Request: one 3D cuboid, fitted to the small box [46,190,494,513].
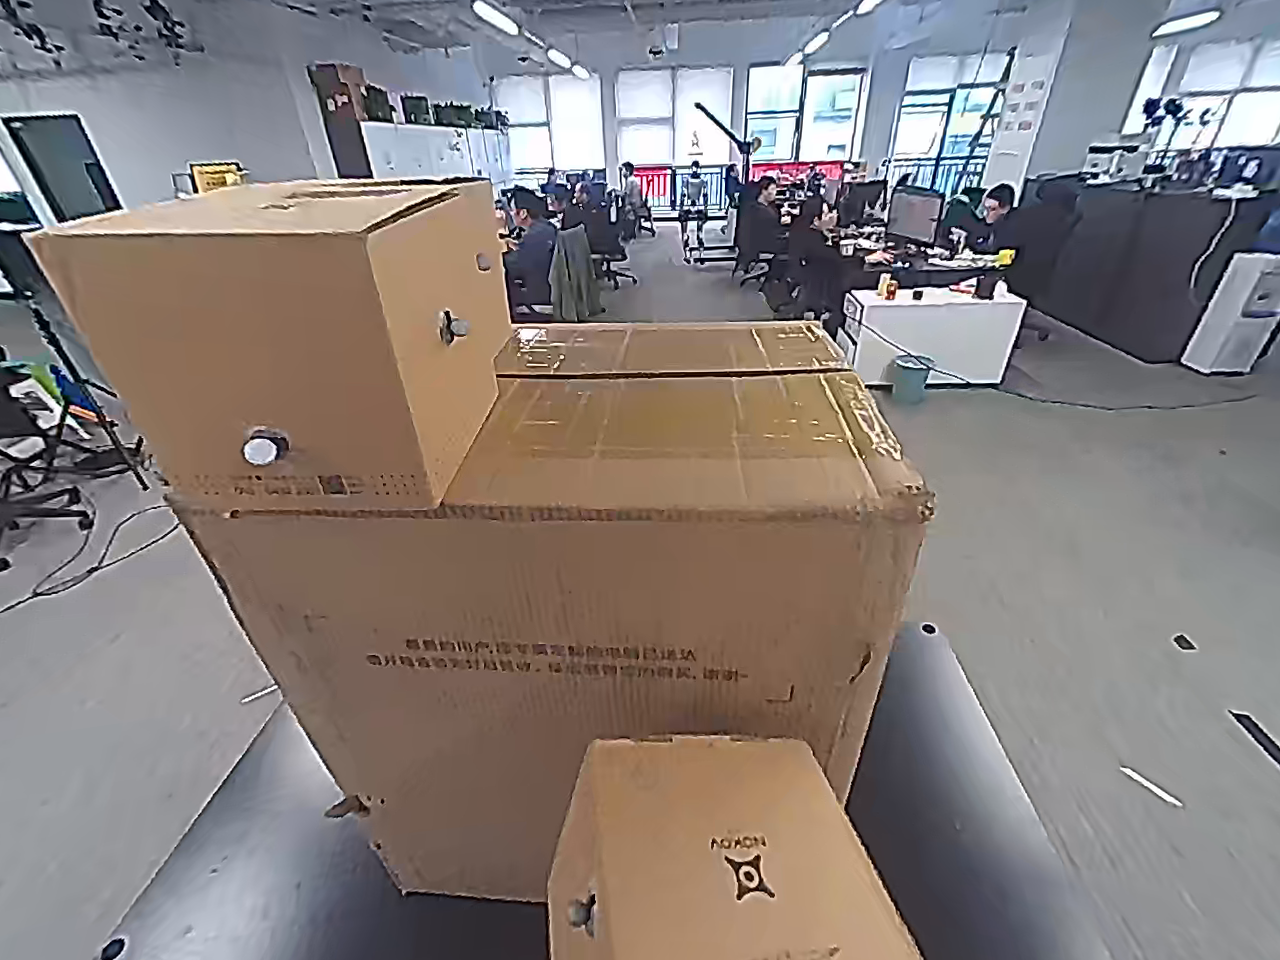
[{"bbox_3d":[-0.208,-0.096,0.375,0.168,0.176,0.179,0,35,1],"label":"small box"}]

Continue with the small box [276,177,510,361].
[{"bbox_3d":[-0.234,-0.197,0.536,0.168,0.176,0.179,-1,31,0],"label":"small box"}]
